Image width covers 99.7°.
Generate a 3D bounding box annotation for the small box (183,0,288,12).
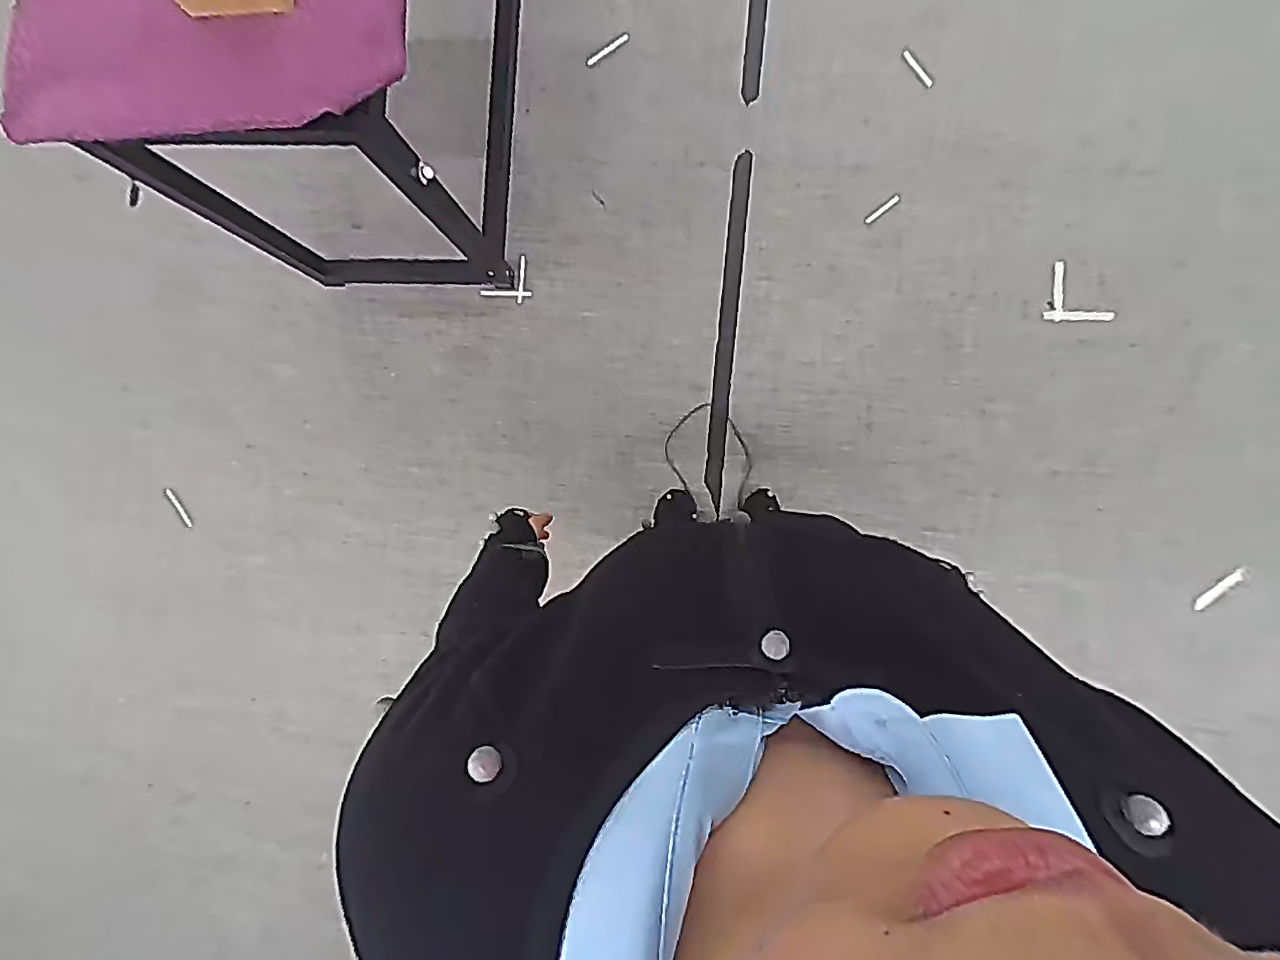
[{"bbox_3d":[-0.629,-0.815,0.770,0.179,0.176,0.168,1,88,5],"label":"small box"}]
